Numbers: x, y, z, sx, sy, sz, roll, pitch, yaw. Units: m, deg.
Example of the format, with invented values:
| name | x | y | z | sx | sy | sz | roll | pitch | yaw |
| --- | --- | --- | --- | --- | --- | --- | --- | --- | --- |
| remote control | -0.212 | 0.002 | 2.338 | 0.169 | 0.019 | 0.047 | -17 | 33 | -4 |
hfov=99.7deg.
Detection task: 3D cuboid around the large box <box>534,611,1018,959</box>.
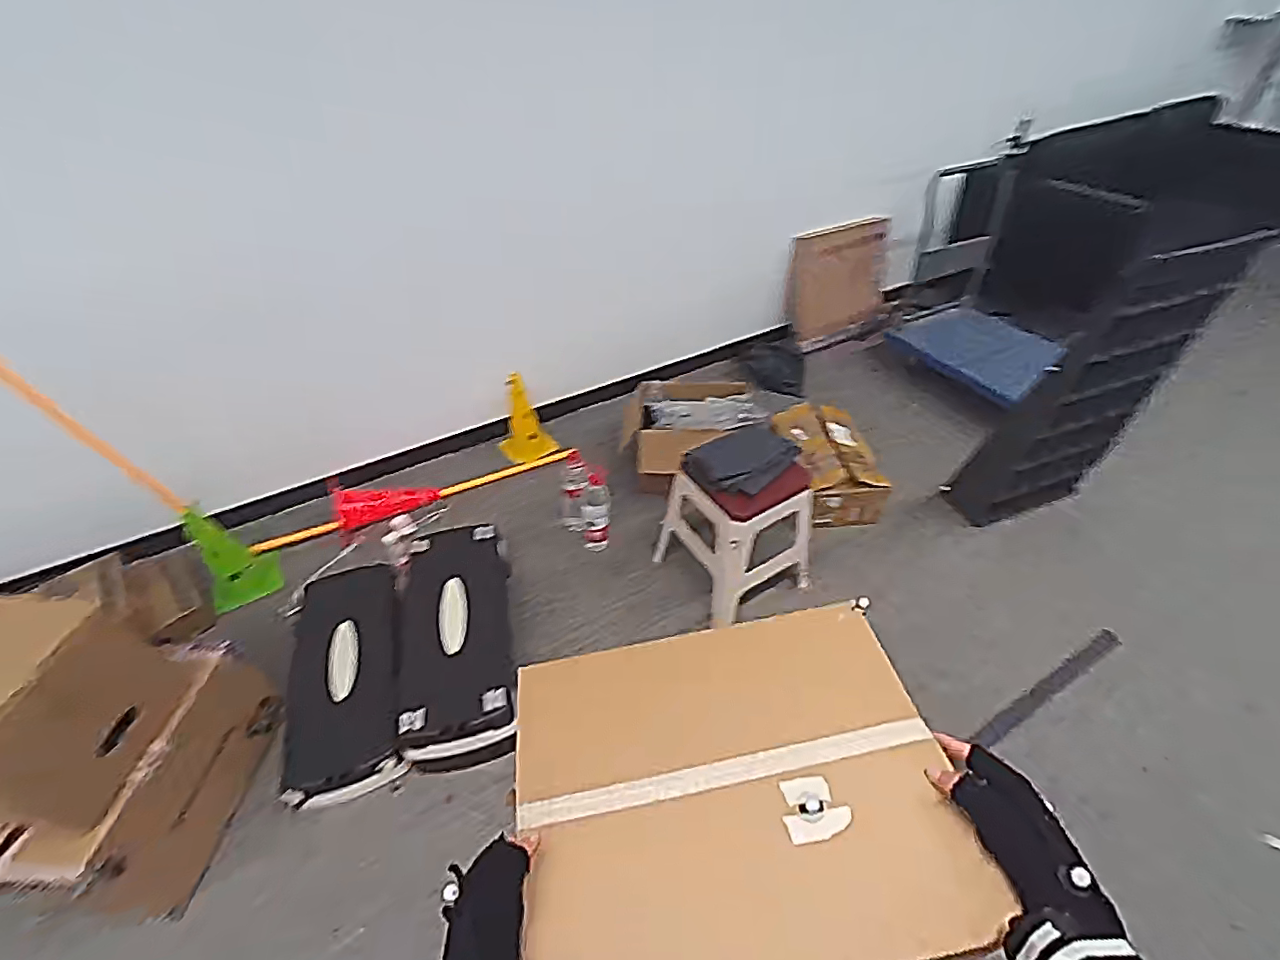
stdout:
| name | x | y | z | sx | sy | sz | roll | pitch | yaw |
| --- | --- | --- | --- | --- | --- | --- | --- | --- | --- |
| large box | 0.107 | 0.405 | 0.636 | 0.408 | 0.320 | 0.320 | -10 | 42 | -3 |
